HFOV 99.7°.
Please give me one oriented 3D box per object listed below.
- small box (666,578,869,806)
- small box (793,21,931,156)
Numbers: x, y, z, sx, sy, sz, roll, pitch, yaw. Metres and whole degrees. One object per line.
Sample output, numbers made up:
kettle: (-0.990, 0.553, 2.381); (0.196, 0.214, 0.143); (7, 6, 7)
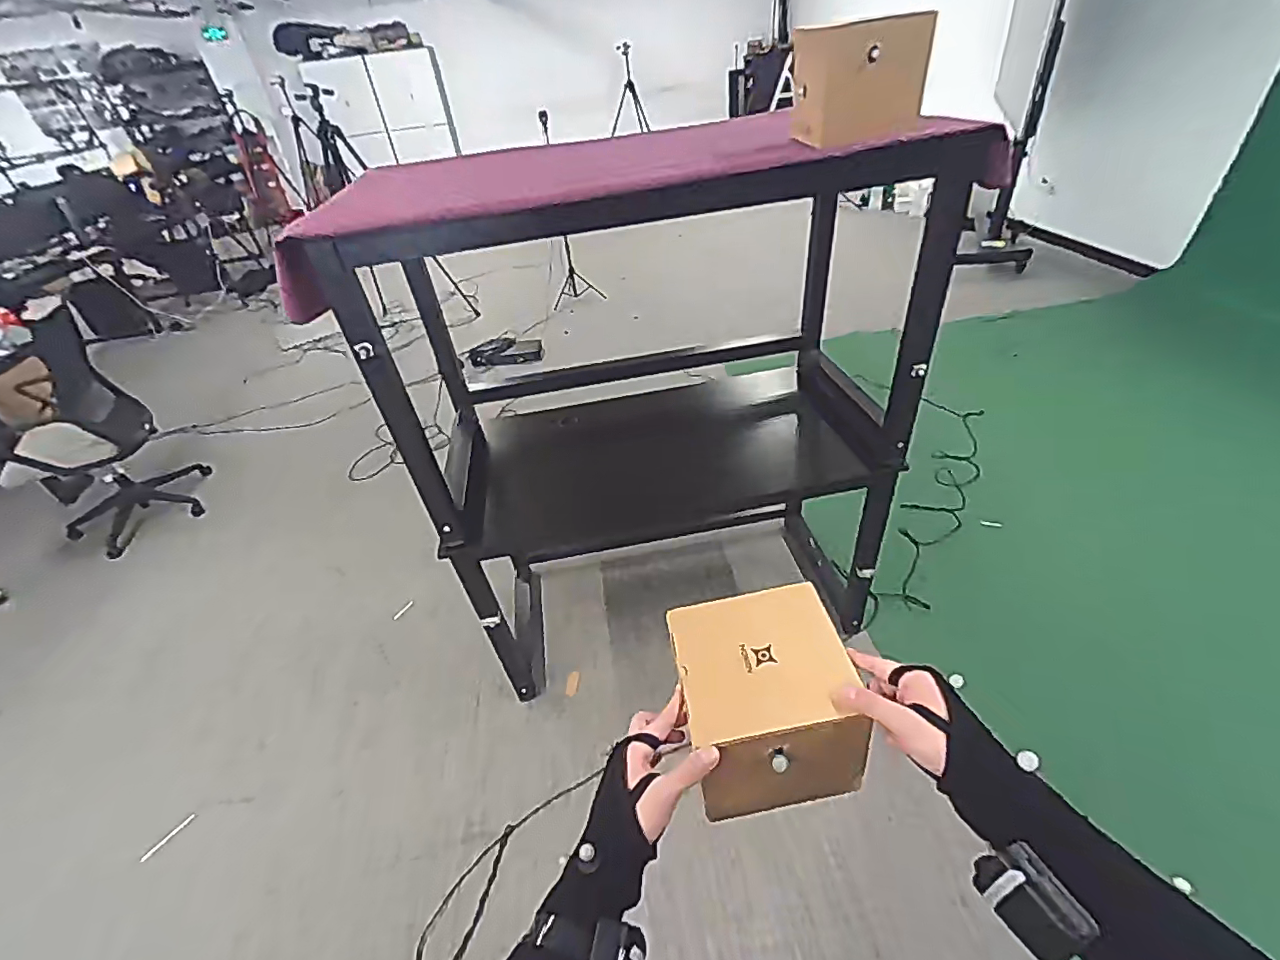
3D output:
small box: (0.135, 0.241, 0.618); (0.179, 0.176, 0.168); (-12, 37, 1)
small box: (0.379, -0.691, 0.962); (0.179, 0.176, 0.168); (-8, 39, 1)
